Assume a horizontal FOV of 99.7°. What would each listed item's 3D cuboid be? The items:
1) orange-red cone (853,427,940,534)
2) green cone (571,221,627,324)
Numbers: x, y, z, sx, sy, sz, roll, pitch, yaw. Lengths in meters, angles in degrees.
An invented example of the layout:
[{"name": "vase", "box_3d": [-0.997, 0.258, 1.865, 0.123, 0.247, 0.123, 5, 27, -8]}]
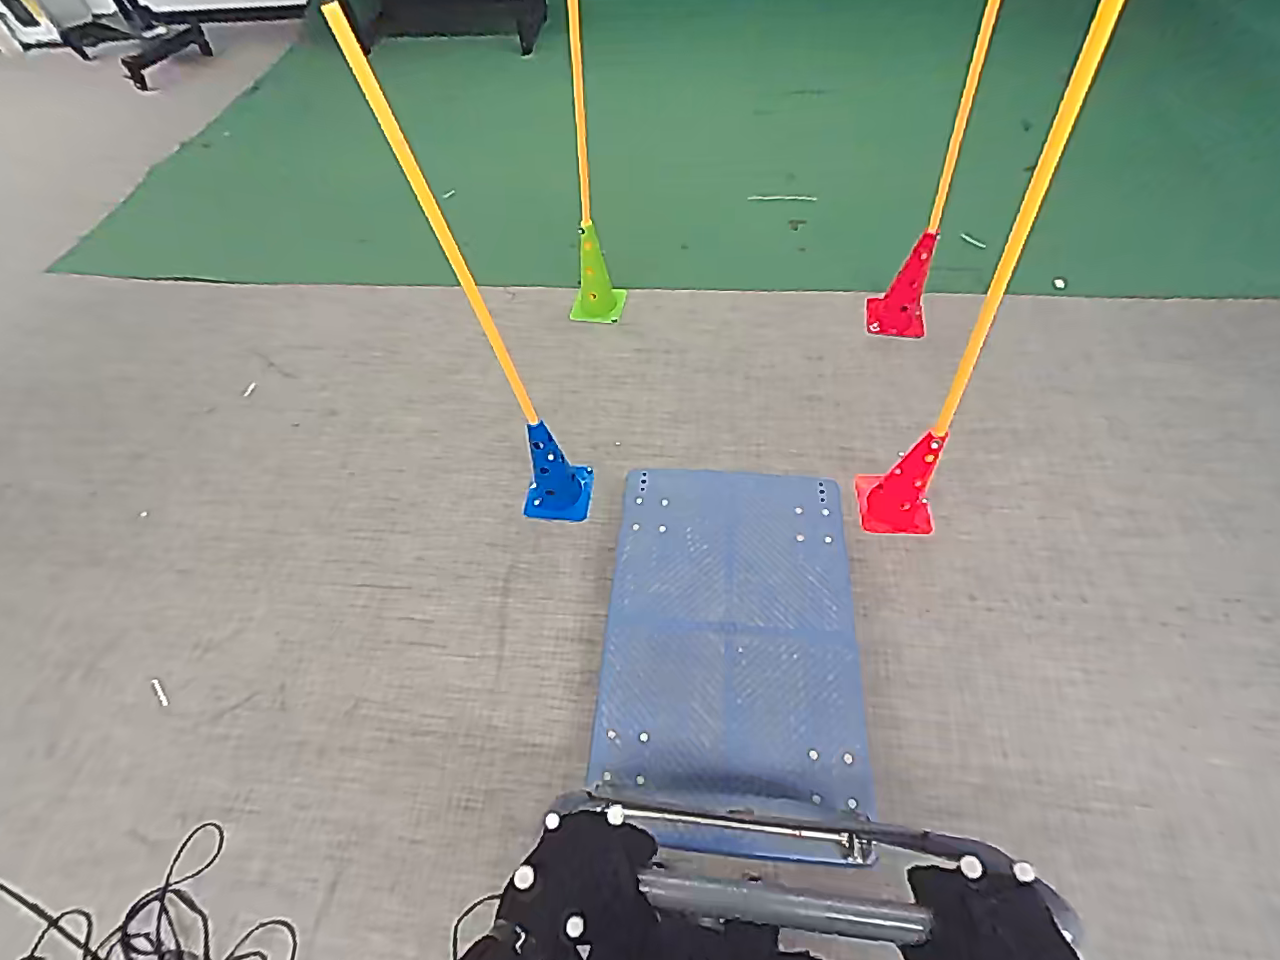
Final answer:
[{"name": "orange-red cone", "box_3d": [0.735, -0.020, 1.479, 0.199, 0.360, 0.198, 2, 57, 7]}, {"name": "green cone", "box_3d": [-0.177, -0.796, 2.033, 0.202, 0.368, 0.200, 7, 58, 9]}]
